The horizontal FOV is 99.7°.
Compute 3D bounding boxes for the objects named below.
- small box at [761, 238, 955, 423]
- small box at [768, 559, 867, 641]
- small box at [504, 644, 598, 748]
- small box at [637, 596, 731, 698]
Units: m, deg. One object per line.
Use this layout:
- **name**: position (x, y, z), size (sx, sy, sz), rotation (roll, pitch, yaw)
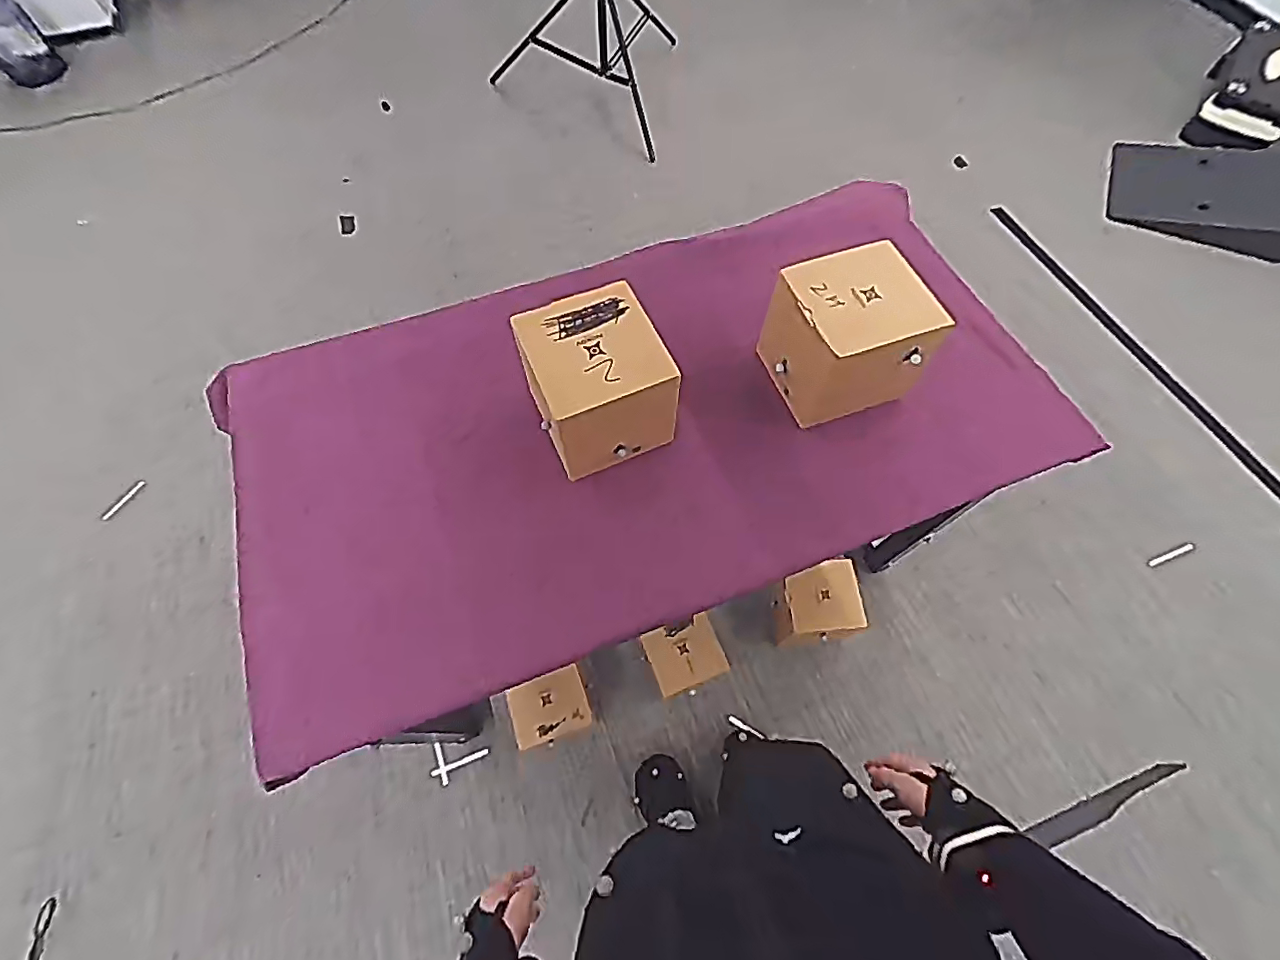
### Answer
- **small box**: position (0.298, -0.210, 0.784), size (0.179, 0.176, 0.168), rotation (-18, 65, -8)
- **small box**: position (0.434, 0.302, 1.349), size (0.179, 0.176, 0.168), rotation (-5, 65, -1)
- **small box**: position (-0.201, 0.504, 1.252), size (0.168, 0.176, 0.179), rotation (-18, 64, -8)
- **small box**: position (0.096, 0.405, 1.298), size (0.168, 0.176, 0.179), rotation (-20, 67, -9)
